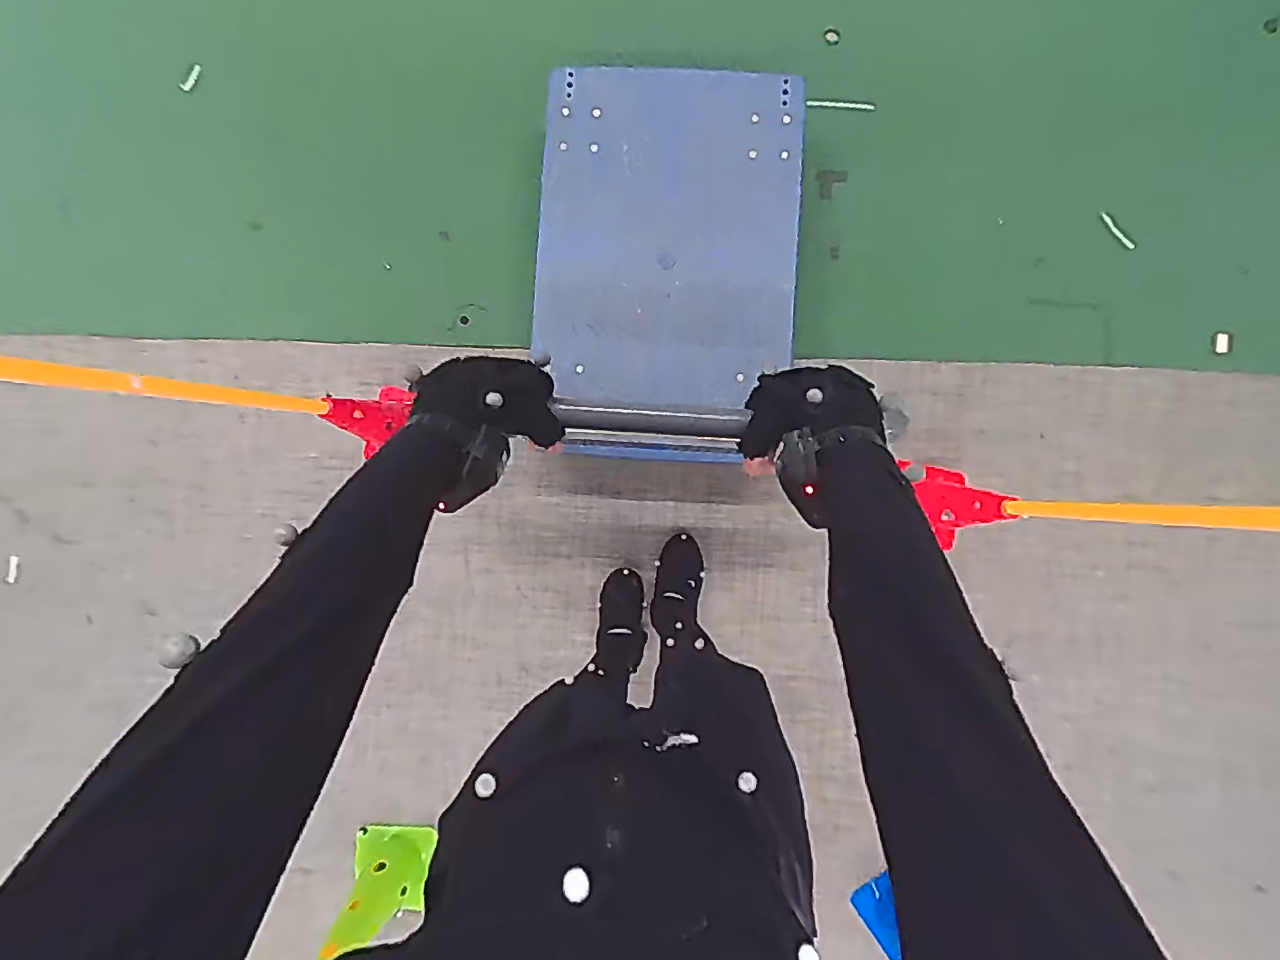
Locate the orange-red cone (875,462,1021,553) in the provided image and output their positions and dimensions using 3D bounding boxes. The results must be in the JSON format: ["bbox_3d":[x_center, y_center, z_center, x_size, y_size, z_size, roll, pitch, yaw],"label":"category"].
[{"bbox_3d":[0.685,0.061,1.161,0.198,0.360,0.199,14,89,3],"label":"orange-red cone"}]
